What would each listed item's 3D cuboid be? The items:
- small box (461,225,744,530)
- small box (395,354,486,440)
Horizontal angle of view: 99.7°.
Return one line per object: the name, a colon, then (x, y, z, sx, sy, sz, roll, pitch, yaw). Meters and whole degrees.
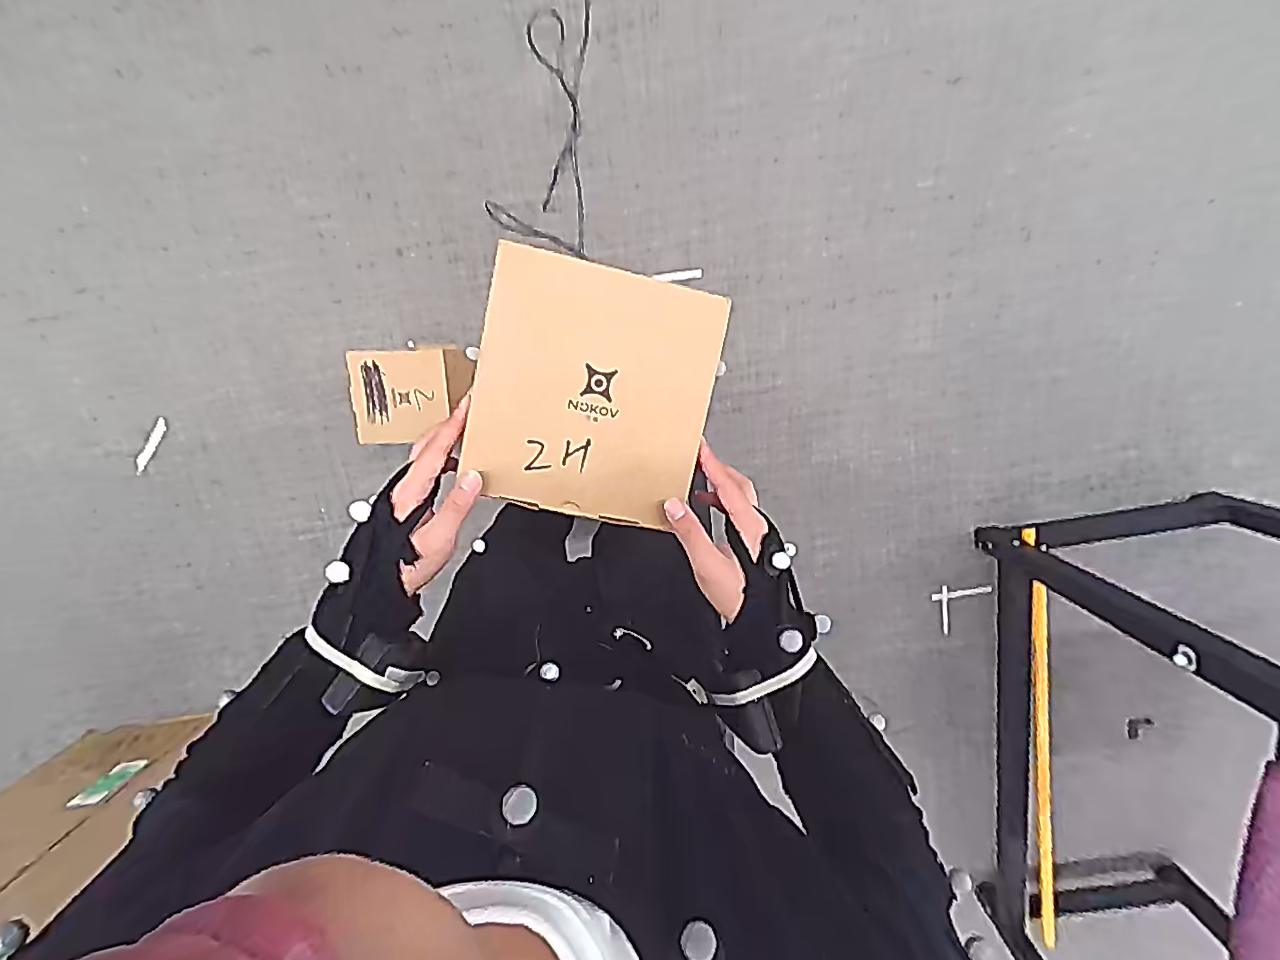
small box: (-0.035, -0.074, 0.447, 0.168, 0.176, 0.179, 12, 95, -9)
small box: (-0.414, -0.186, 1.190, 0.168, 0.176, 0.179, -1, 104, 1)
